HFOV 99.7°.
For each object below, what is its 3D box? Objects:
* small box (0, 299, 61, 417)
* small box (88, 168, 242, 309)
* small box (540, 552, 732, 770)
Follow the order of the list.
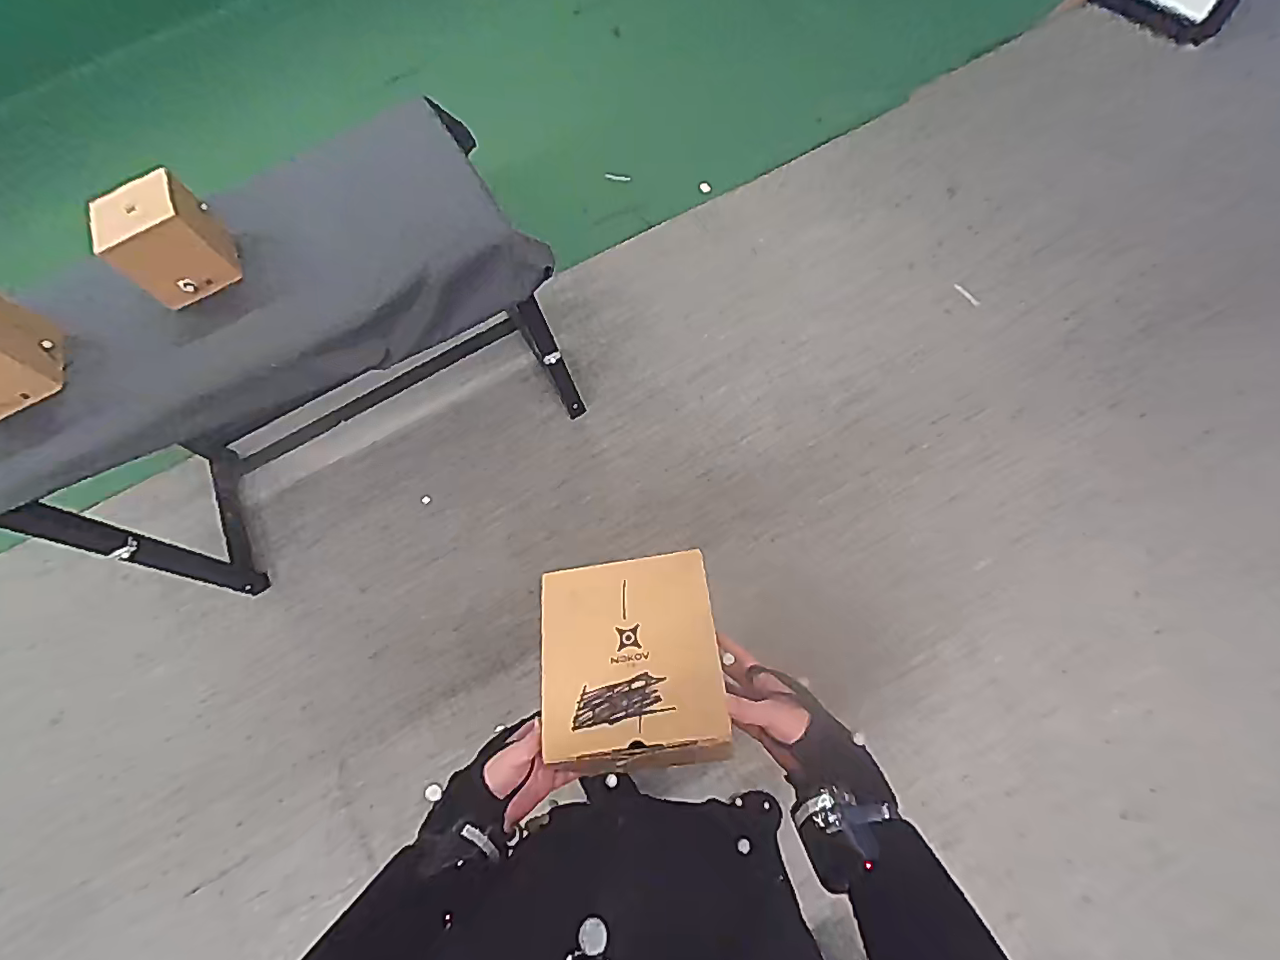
[{"bbox_3d":[-1.297,-0.247,1.056,0.168,0.176,0.179,-30,64,-5],"label":"small box"},{"bbox_3d":[-0.979,-0.495,1.123,0.168,0.176,0.179,-31,67,-4],"label":"small box"},{"bbox_3d":[0.001,0.197,0.564,0.168,0.176,0.179,-9,57,4],"label":"small box"}]
